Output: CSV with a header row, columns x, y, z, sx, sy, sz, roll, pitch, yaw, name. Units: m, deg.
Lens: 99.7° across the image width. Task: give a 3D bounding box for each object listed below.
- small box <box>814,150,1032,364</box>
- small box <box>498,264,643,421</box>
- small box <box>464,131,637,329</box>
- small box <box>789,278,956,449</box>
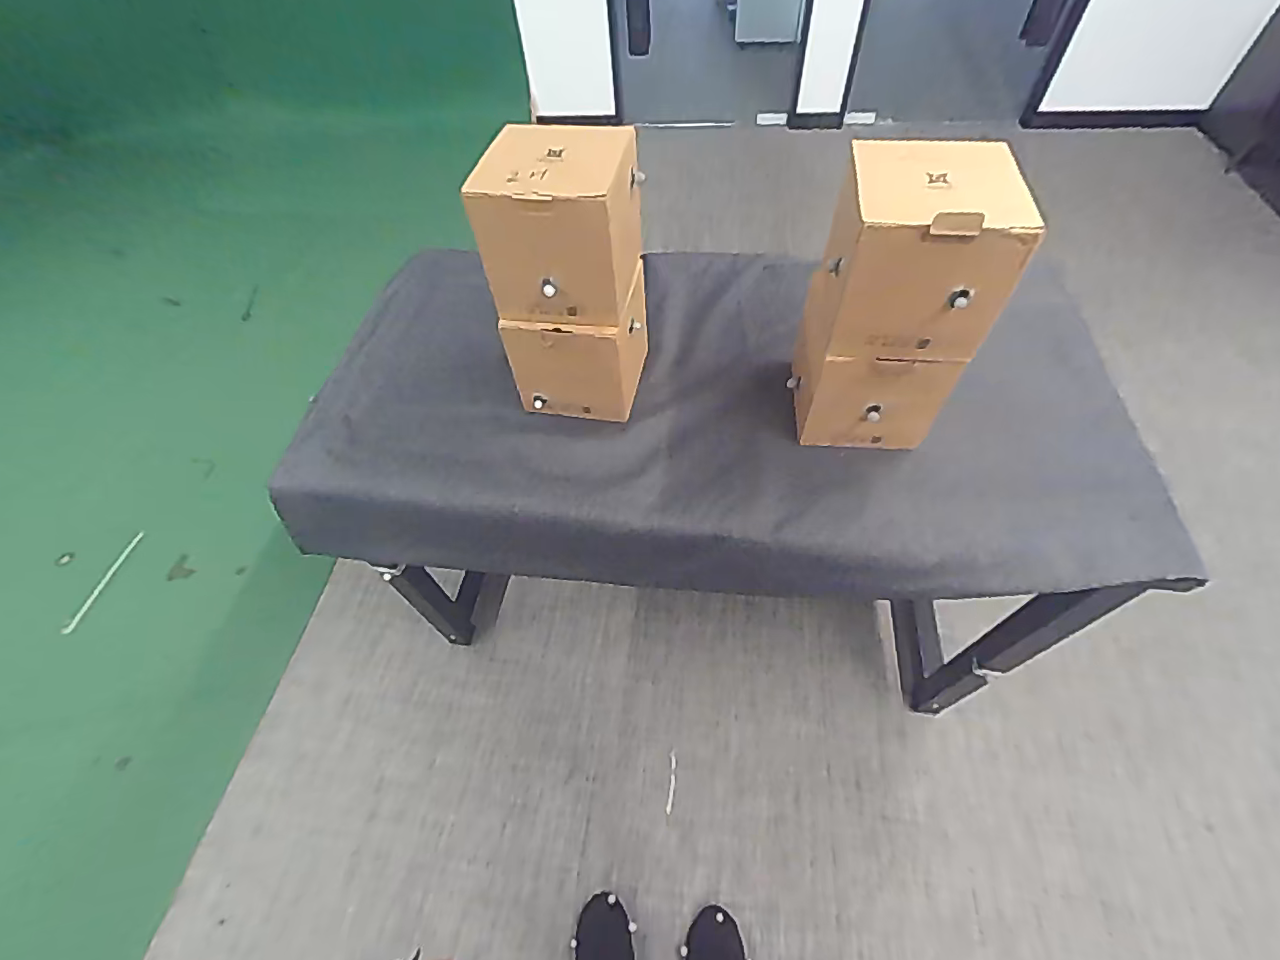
x,y,z,sx,sy,sz,roll,pitch,yaw,name
0.304,-0.255,0.626,0.168,0.176,0.179,6,54,7,small box
-0.090,-0.210,0.820,0.168,0.176,0.179,8,54,9,small box
-0.098,-0.320,0.696,0.168,0.176,0.179,6,54,8,small box
0.308,-0.159,0.759,0.168,0.176,0.179,3,55,6,small box
